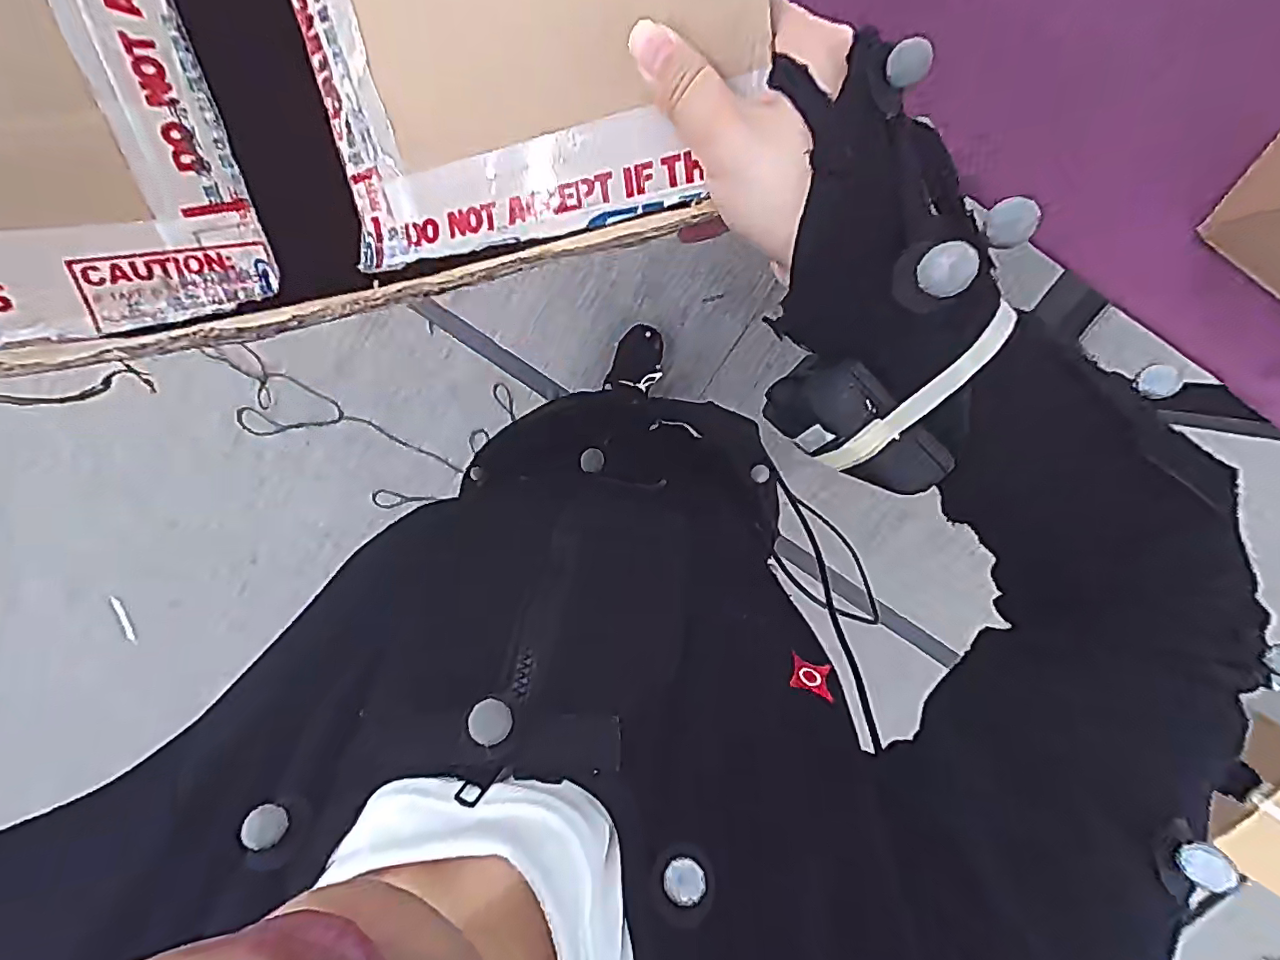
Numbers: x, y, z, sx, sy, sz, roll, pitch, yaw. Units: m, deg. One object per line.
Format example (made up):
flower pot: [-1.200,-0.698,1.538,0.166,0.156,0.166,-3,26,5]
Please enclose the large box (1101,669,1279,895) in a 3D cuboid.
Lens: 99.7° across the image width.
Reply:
large box: [1.485,0.744,1.306,0.408,0.320,0.320,32,103,-3]
